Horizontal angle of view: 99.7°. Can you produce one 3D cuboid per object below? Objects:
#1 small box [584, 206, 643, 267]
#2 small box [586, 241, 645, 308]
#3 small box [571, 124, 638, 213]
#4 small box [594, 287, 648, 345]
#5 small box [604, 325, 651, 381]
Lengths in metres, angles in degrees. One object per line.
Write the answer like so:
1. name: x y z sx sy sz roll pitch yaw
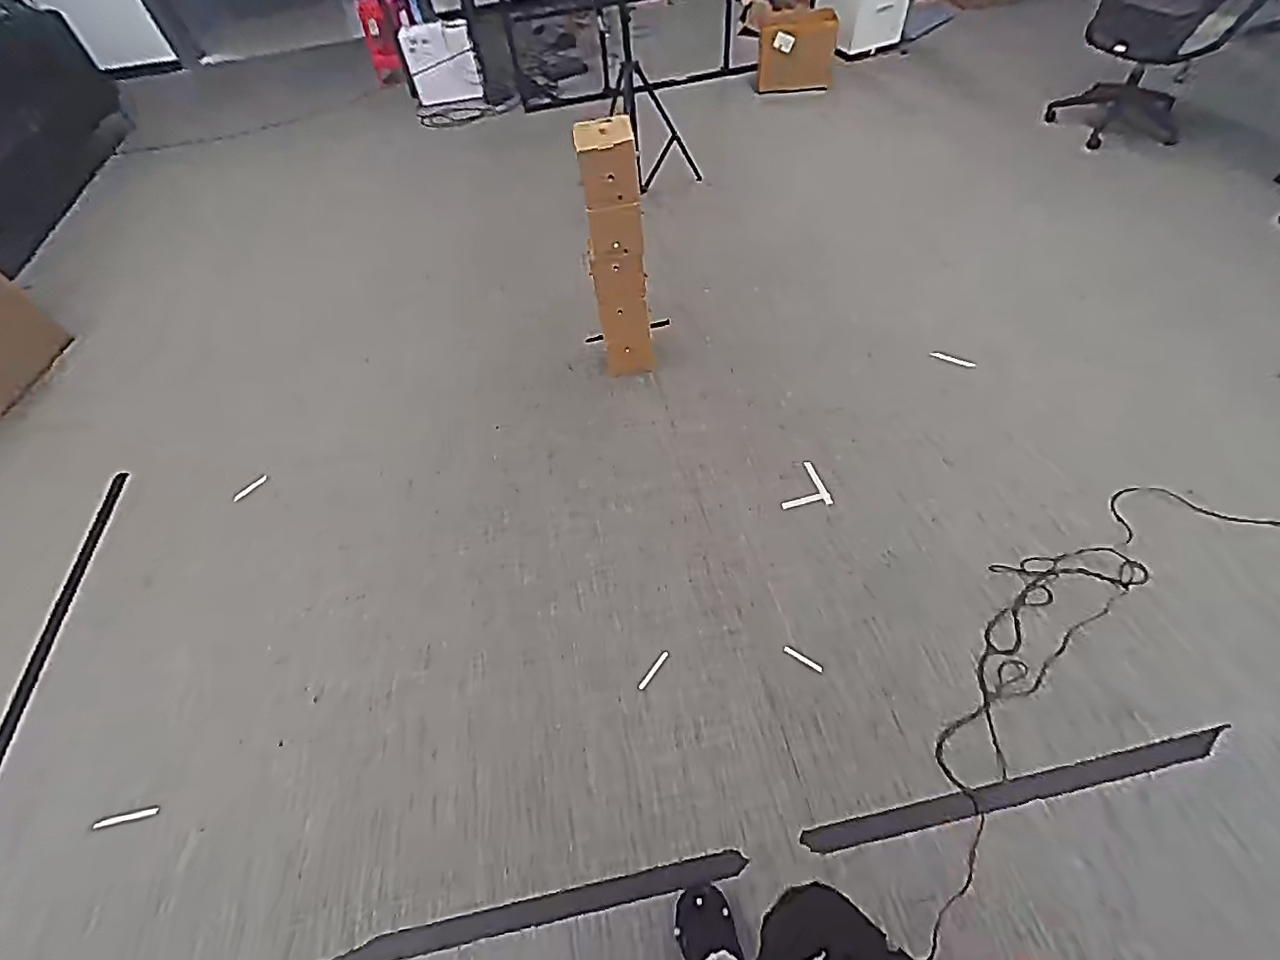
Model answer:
1. small box: -0.085 -0.808 1.722 0.168 0.176 0.179 -8 55 2
2. small box: -0.083 -0.713 1.857 0.179 0.176 0.168 -7 55 1
3. small box: -0.102 -0.910 1.595 0.168 0.176 0.179 -10 55 0
4. small box: -0.067 -0.613 1.983 0.179 0.176 0.168 -5 55 3
5. small box: -0.049 -0.511 2.111 0.179 0.176 0.168 -8 54 1
